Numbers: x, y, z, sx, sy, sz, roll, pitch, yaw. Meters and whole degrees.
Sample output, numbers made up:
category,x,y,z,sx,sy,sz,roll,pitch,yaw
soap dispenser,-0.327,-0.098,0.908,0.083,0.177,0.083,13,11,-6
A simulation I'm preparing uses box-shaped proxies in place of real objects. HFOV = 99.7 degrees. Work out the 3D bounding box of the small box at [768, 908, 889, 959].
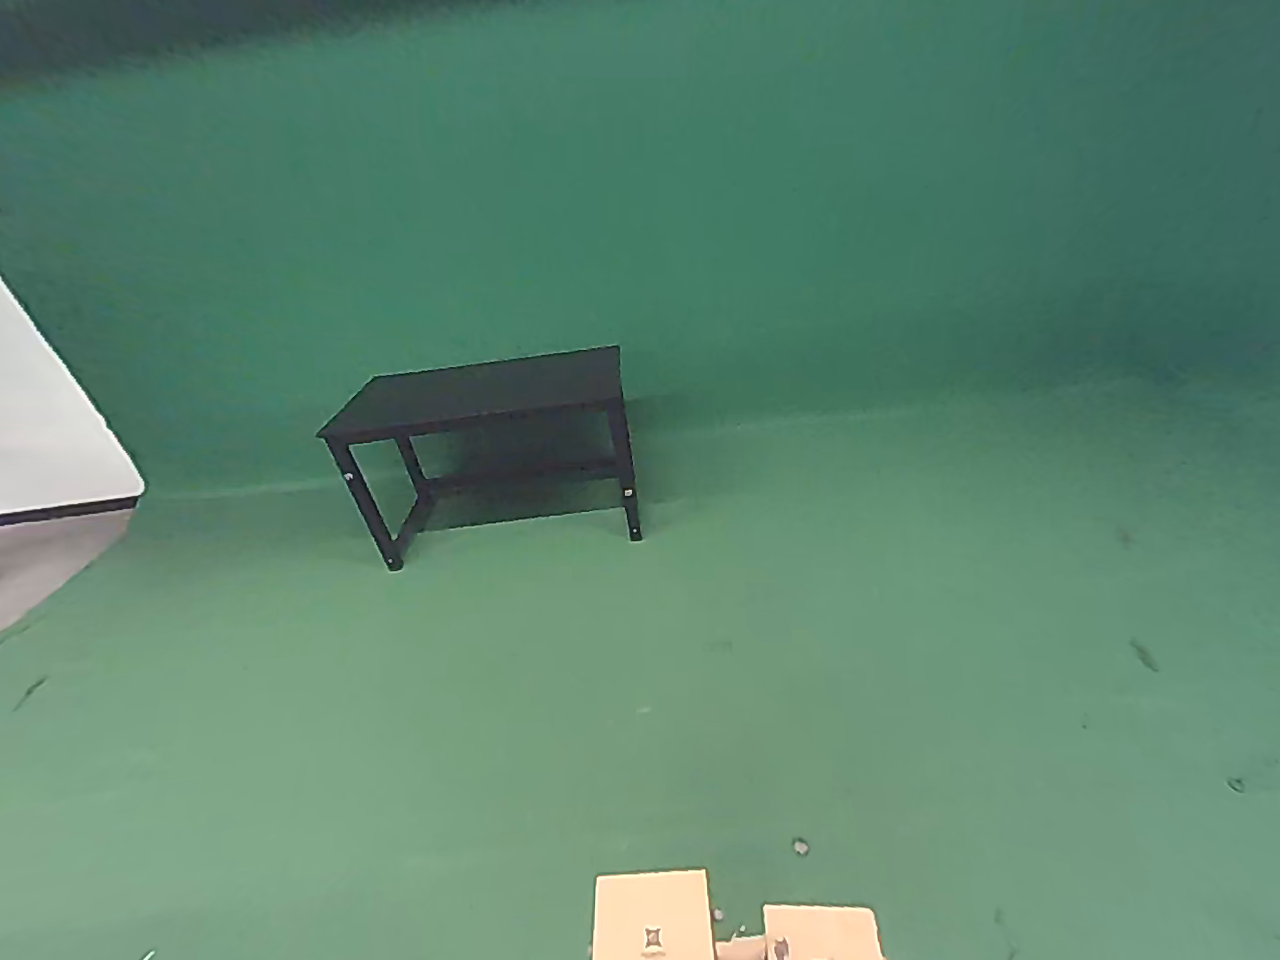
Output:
category,x,y,z,sx,sy,sz,roll,pitch,yaw
small box,0.292,0.800,0.833,0.179,0.176,0.168,-4,31,9

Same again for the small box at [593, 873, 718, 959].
category,x,y,z,sx,sy,sz,roll,pitch,yaw
small box,0.027,0.694,0.762,0.168,0.176,0.179,-6,32,4
